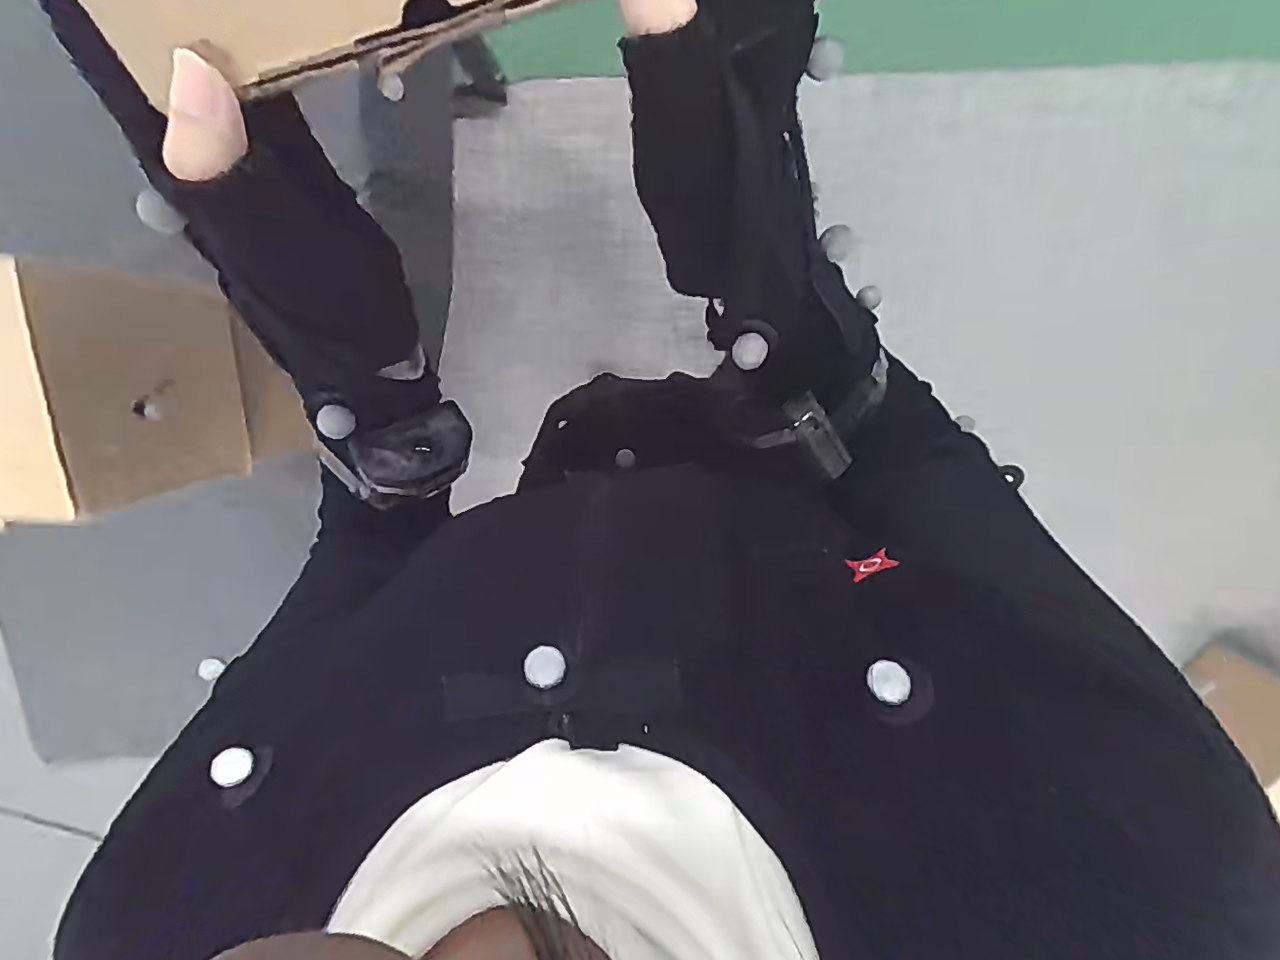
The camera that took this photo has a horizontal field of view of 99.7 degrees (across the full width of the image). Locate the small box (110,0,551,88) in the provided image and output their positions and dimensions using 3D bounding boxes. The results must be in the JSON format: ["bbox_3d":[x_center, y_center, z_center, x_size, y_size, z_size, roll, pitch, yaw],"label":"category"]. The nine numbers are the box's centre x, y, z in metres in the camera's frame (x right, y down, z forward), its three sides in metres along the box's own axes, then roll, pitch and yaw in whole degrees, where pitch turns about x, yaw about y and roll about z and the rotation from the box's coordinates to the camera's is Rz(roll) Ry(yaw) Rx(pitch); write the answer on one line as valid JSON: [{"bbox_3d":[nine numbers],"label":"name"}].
[{"bbox_3d":[-0.083,-0.245,0.156,0.168,0.176,0.179,-14,129,4],"label":"small box"}]

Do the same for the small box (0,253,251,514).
[{"bbox_3d":[-0.469,-0.078,0.448,0.168,0.176,0.179,-3,102,6],"label":"small box"}]

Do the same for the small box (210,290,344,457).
[{"bbox_3d":[-0.473,-0.114,0.605,0.179,0.176,0.168,-3,103,3],"label":"small box"}]
